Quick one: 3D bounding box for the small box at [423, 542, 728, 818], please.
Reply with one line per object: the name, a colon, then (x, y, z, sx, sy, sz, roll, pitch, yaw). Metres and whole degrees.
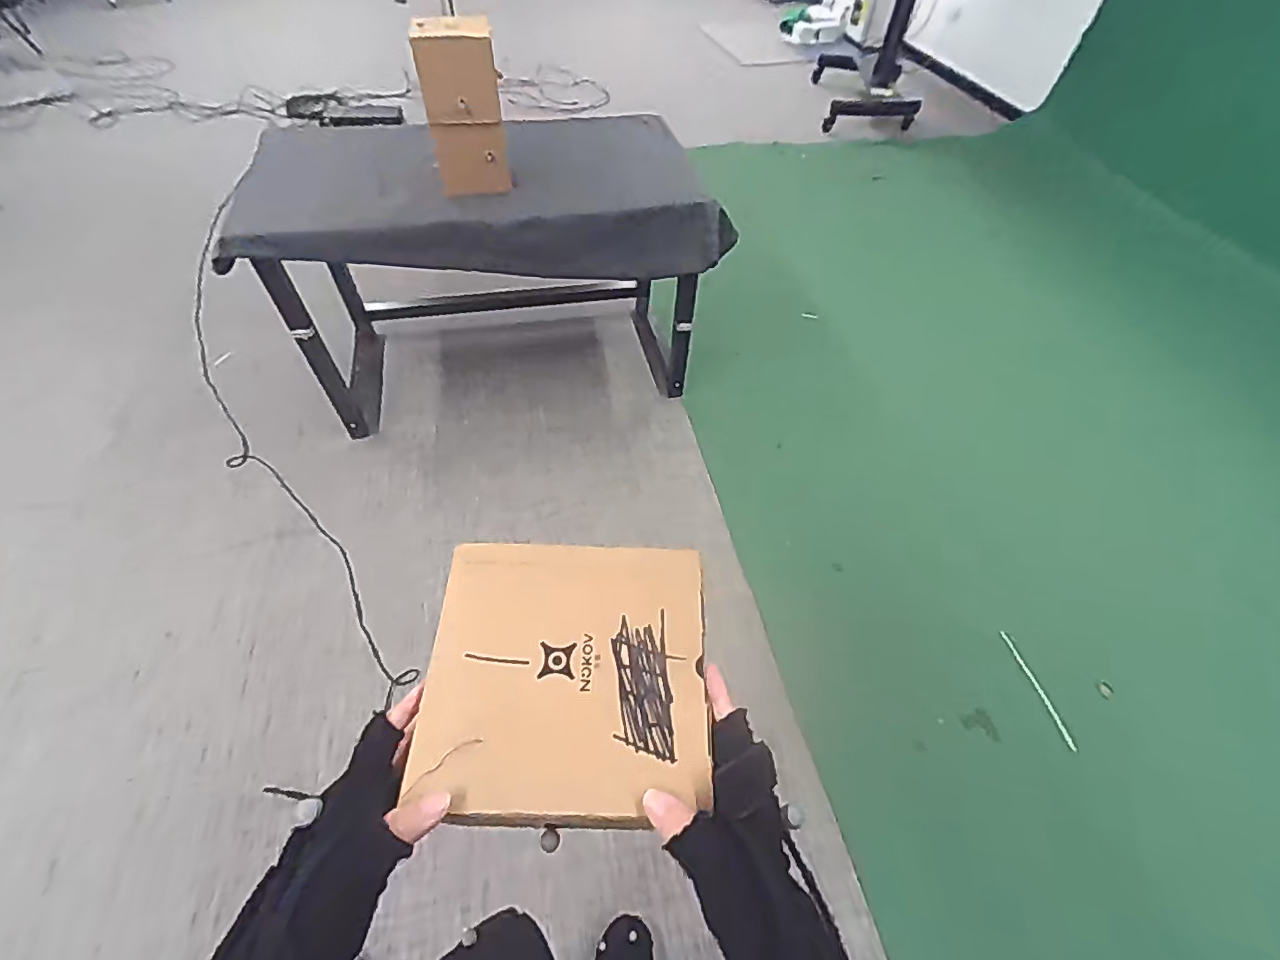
small box: (-0.045, 0.159, 0.416, 0.179, 0.176, 0.168, 1, 56, -6)

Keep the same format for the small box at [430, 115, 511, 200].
small box: (-0.437, -0.859, 1.416, 0.179, 0.176, 0.168, -10, 52, -9)

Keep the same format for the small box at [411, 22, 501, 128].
small box: (-0.429, -0.958, 1.286, 0.179, 0.176, 0.168, -7, 52, -10)
